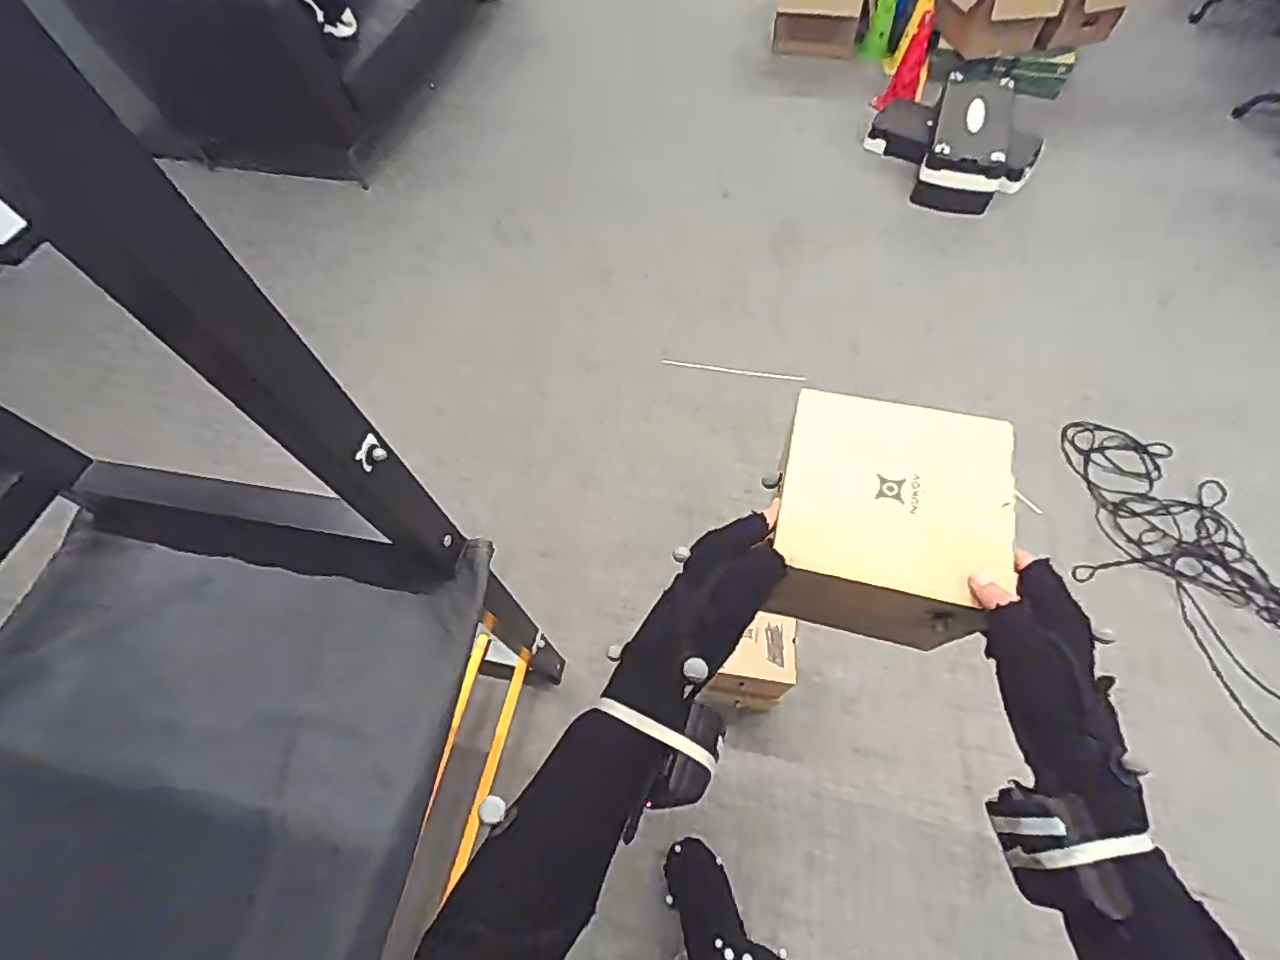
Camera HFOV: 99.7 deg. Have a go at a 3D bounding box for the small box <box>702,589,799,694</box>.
[{"bbox_3d":[0.228,0.342,1.132,0.179,0.176,0.168,6,61,9],"label":"small box"}]

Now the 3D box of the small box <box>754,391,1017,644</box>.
[{"bbox_3d":[0.207,0.043,0.494,0.179,0.176,0.168,12,69,11],"label":"small box"}]
